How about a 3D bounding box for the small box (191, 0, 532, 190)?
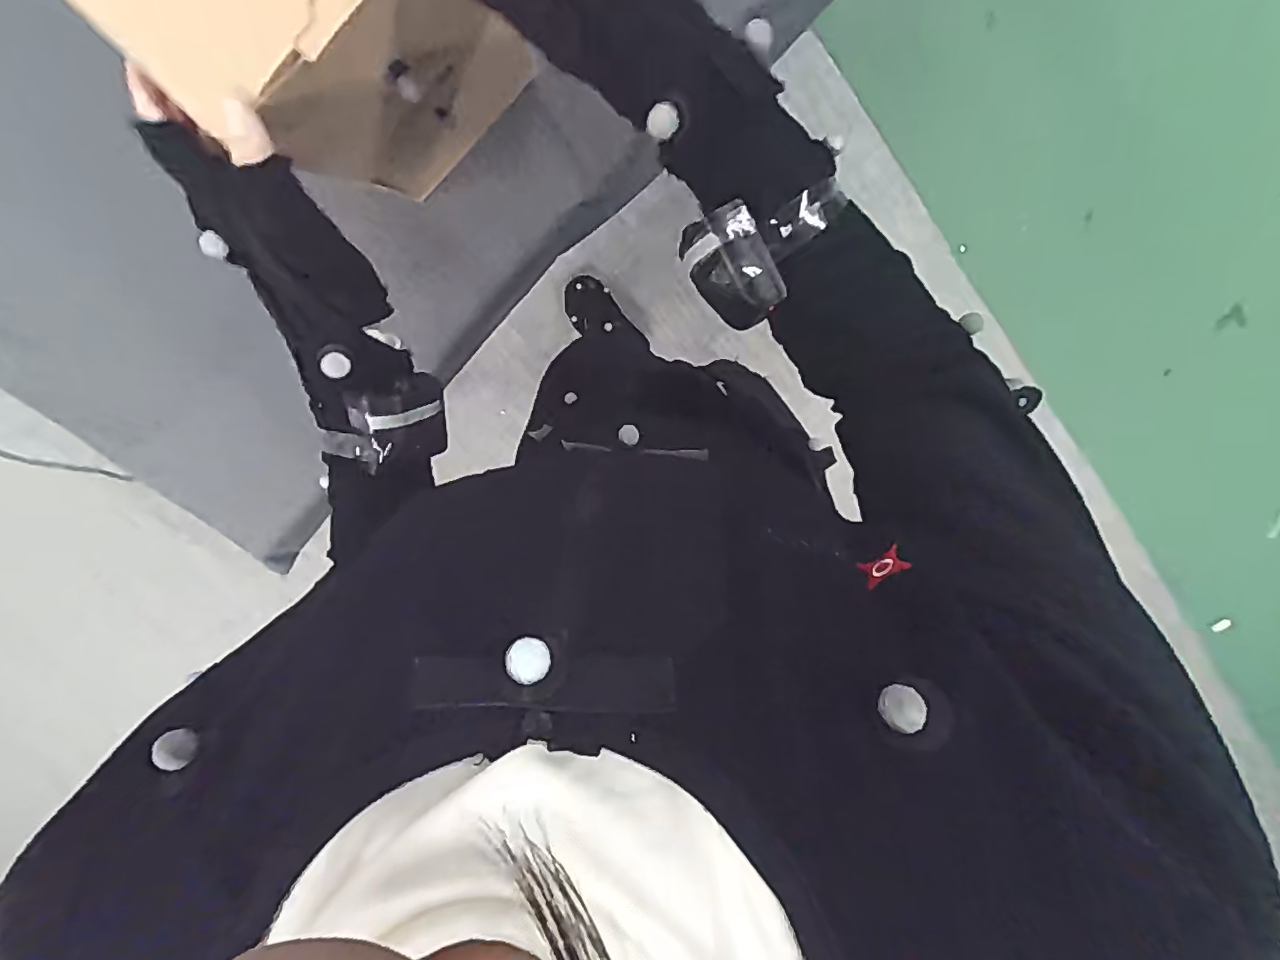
[{"bbox_3d":[-0.210,-0.375,0.452,0.179,0.176,0.168,-41,109,12],"label":"small box"}]
